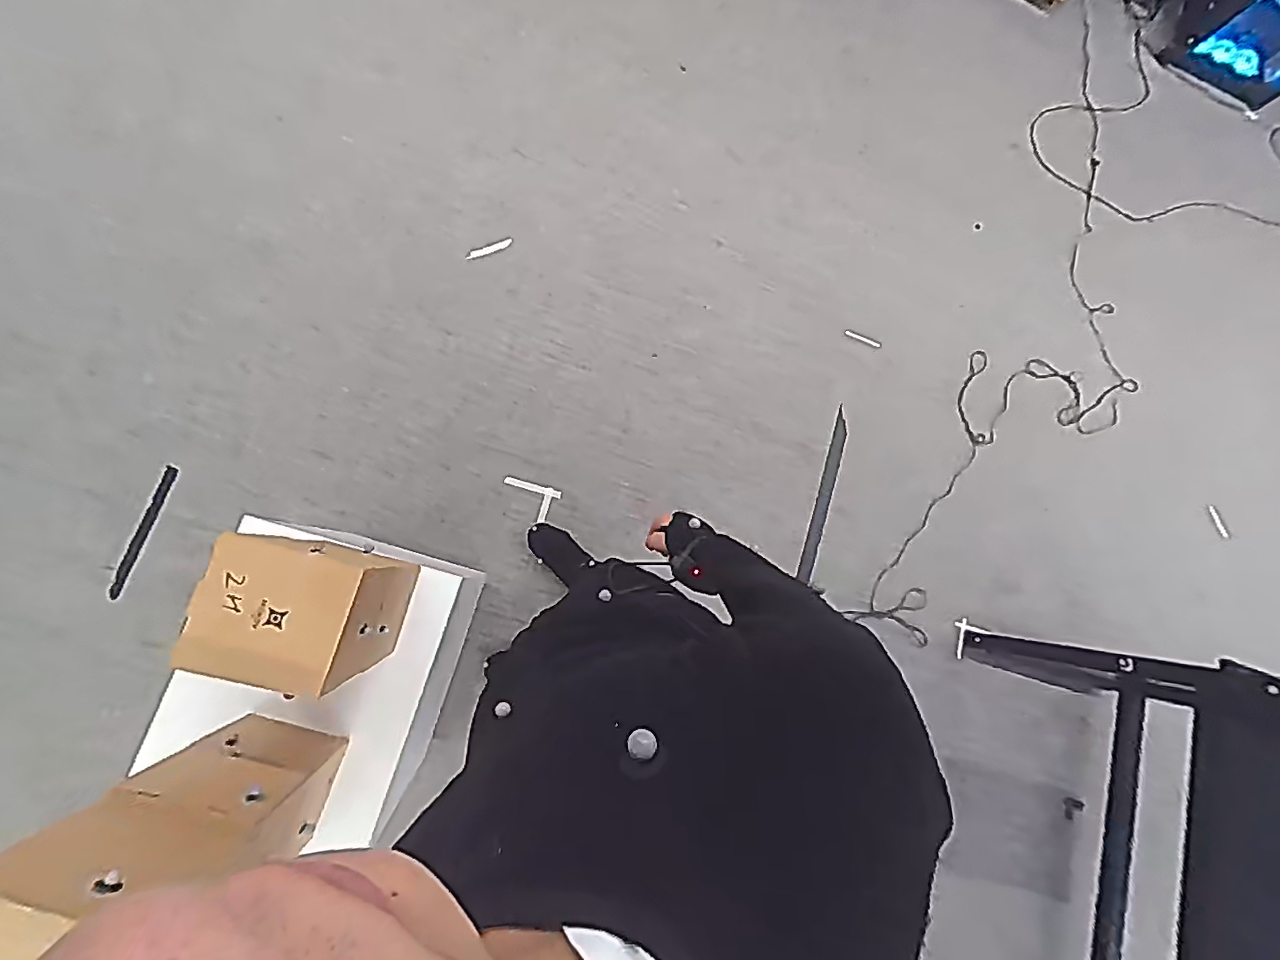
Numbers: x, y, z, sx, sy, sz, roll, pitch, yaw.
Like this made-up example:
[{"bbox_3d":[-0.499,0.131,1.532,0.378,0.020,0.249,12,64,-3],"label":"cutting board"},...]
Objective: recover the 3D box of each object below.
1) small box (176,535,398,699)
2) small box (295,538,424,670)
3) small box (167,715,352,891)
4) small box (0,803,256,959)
[{"bbox_3d":[-0.457,0.176,0.737,0.179,0.176,0.168,17,80,-7],"label":"small box"},{"bbox_3d":[-0.485,0.199,0.898,0.179,0.176,0.168,16,80,-7],"label":"small box"},{"bbox_3d":[-0.584,0.486,0.839,0.179,0.176,0.168,19,78,-7],"label":"small box"},{"bbox_3d":[-0.523,0.446,0.518,0.179,0.176,0.168,22,78,-5],"label":"small box"}]
